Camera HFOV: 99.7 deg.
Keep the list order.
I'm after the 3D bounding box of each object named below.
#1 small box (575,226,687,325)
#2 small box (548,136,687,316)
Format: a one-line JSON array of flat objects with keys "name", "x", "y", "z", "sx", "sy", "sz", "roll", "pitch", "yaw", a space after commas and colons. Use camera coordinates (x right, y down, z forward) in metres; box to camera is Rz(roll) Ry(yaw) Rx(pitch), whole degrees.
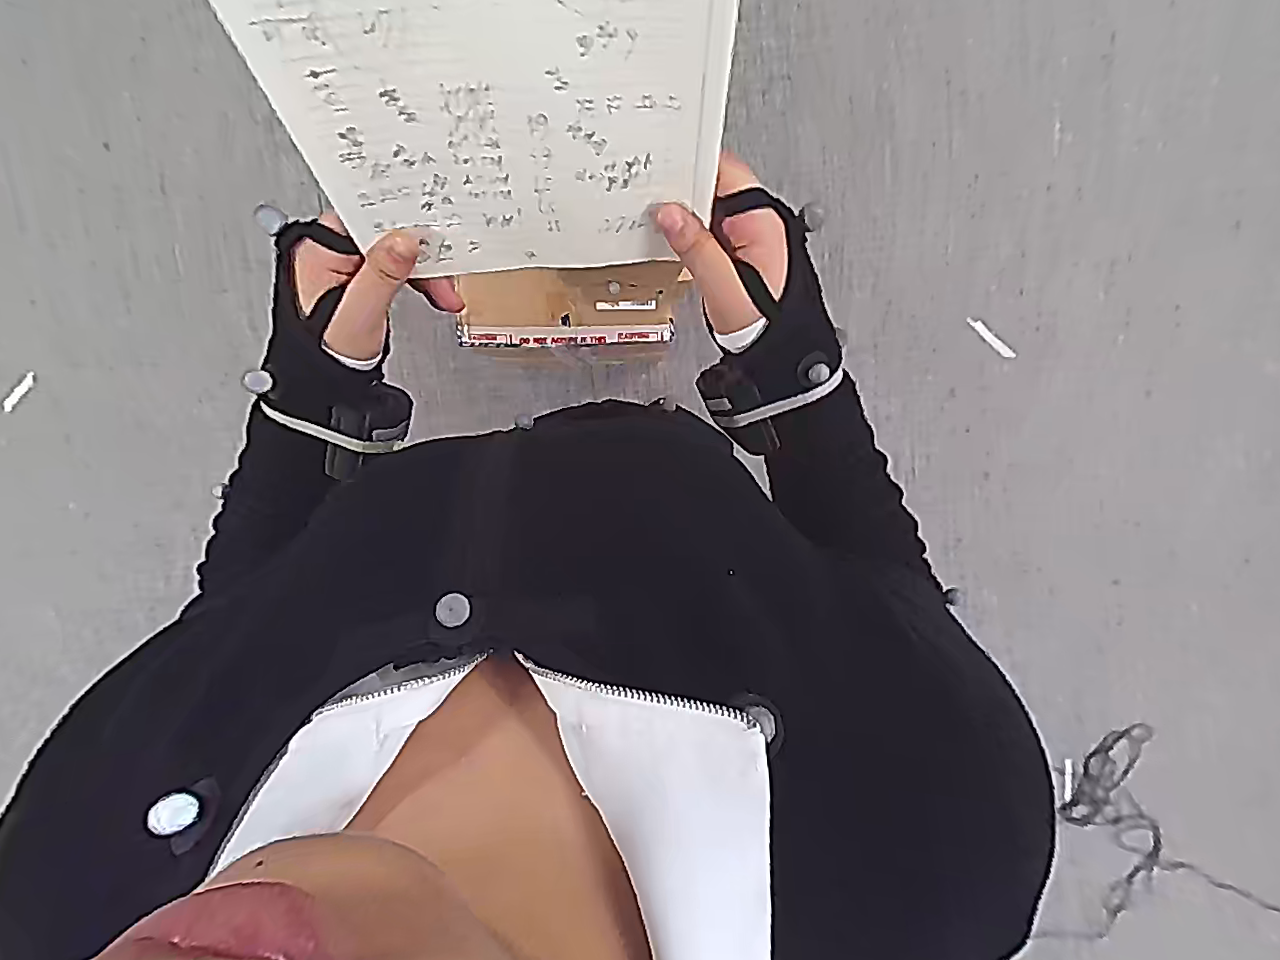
[{"name": "small box", "x": -0.023, "y": -0.352, "z": 0.888, "sx": 0.179, "sy": 0.176, "sz": 0.168, "roll": -3, "pitch": 98, "yaw": -2}, {"name": "small box", "x": -0.033, "y": -0.325, "z": 0.724, "sx": 0.168, "sy": 0.176, "sz": 0.179, "roll": 0, "pitch": 99, "yaw": -4}]
